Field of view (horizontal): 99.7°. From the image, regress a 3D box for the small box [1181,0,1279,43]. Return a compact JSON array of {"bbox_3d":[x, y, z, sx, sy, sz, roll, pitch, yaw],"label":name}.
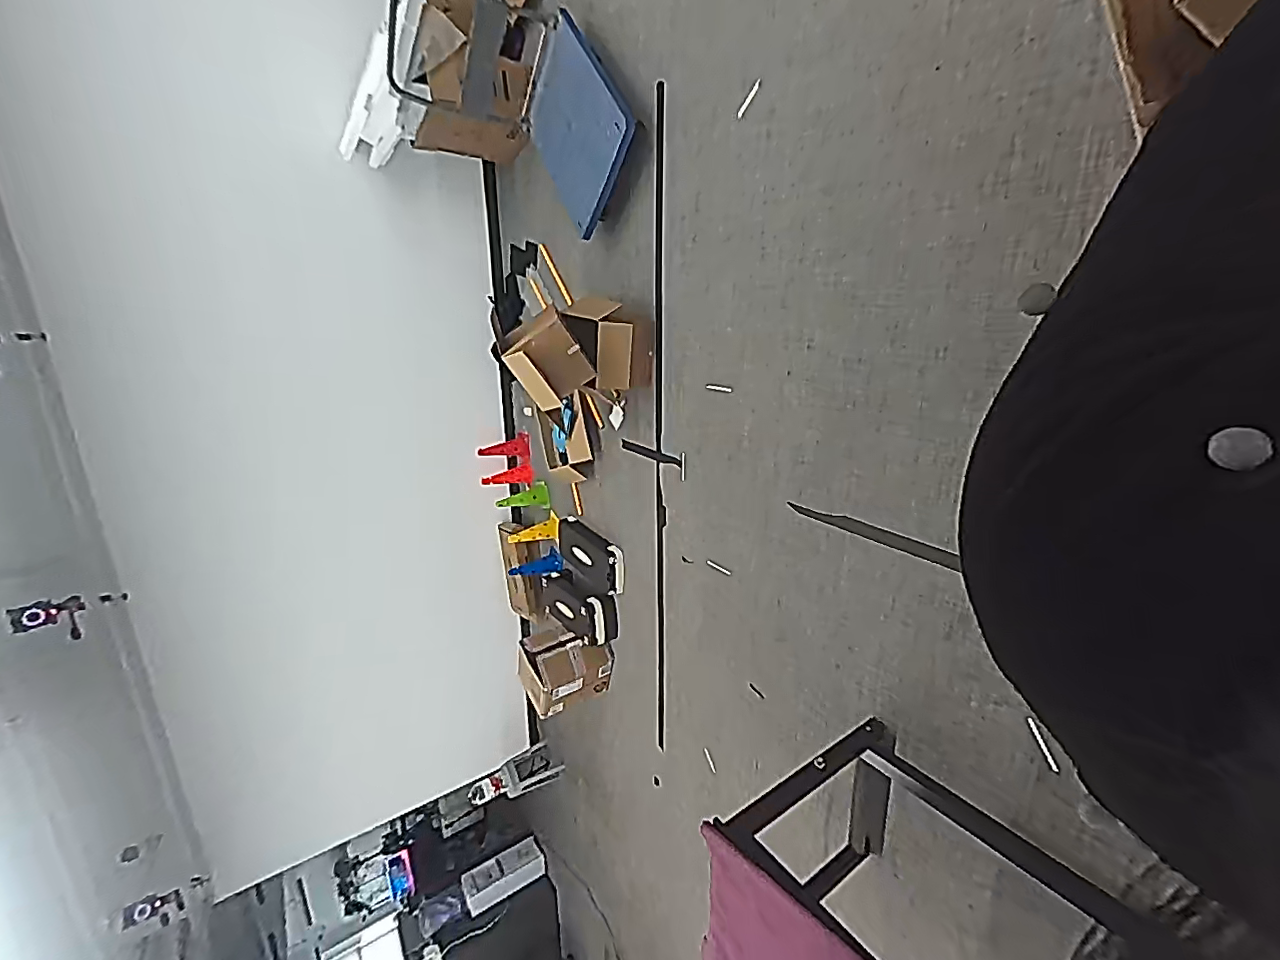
[{"bbox_3d":[0.463,-0.428,0.335,0.179,0.176,0.168,-6,96,58],"label":"small box"}]
